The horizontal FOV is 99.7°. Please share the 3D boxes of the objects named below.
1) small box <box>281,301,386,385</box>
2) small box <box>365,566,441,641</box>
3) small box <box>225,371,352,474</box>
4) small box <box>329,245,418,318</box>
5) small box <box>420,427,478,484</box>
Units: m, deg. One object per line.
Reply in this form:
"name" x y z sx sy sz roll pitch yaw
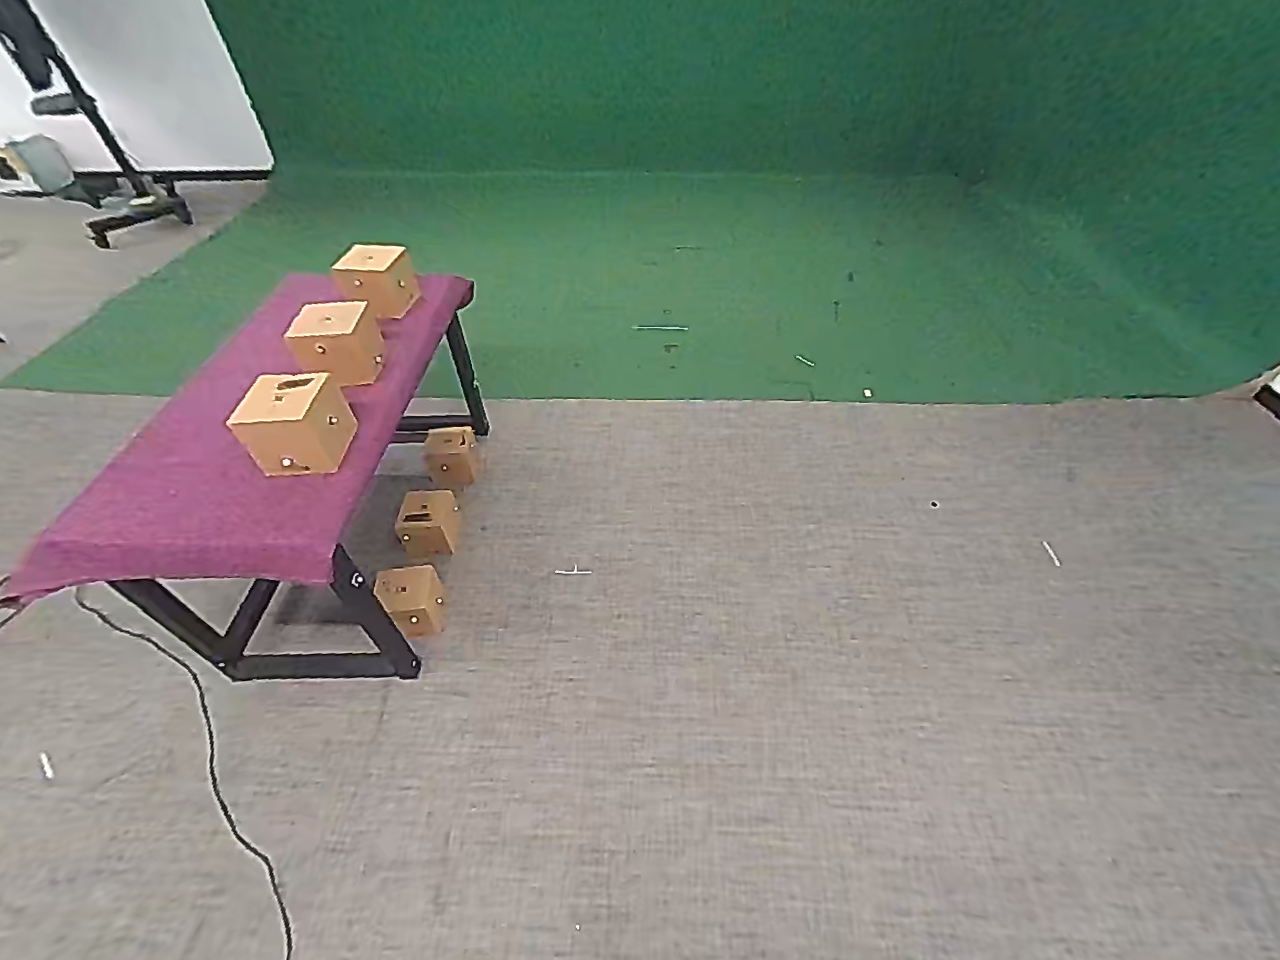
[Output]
"small box" -0.836 -0.375 1.493 0.179 0.176 0.168 -3 47 -2
"small box" -0.757 0.402 1.753 0.179 0.176 0.168 -6 46 -5
"small box" -0.800 -0.133 1.258 0.168 0.176 0.179 -3 47 -1
"small box" -0.849 -0.639 1.746 0.179 0.176 0.168 4 47 6
"small box" -0.783 -0.098 2.231 0.179 0.176 0.168 -5 46 -4
